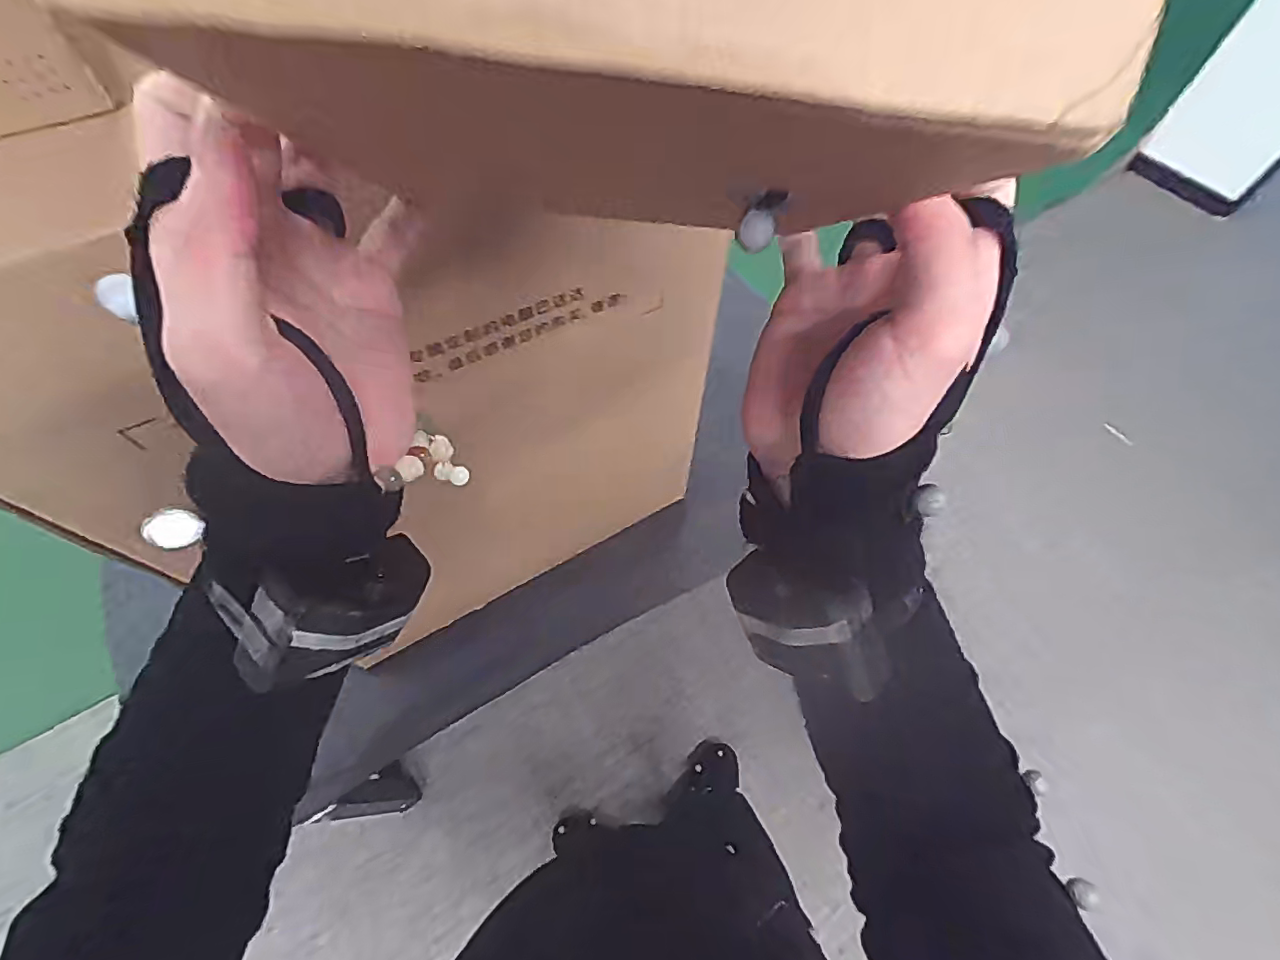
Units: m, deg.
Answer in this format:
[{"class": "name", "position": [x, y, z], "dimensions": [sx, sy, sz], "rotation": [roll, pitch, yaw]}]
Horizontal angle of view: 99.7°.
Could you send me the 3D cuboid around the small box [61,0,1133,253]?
[{"class": "small box", "position": [-0.004, -0.159, 0.145], "dimensions": [0.179, 0.168, 0.176], "rotation": [1, 18, -5]}]
